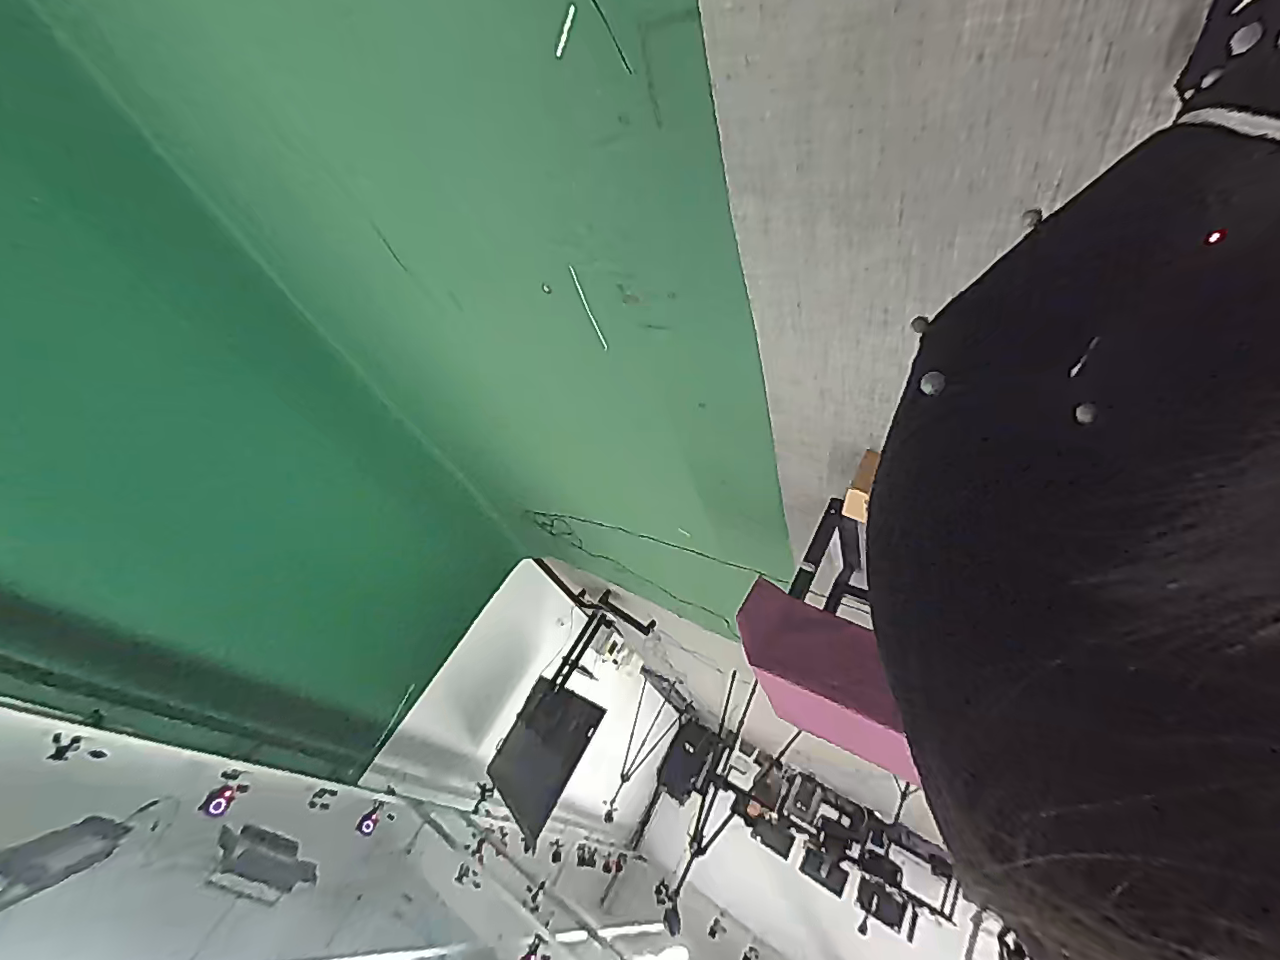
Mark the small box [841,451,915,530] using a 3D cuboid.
[{"bbox_3d":[0.788,0.031,1.789,0.168,0.176,0.179,23,155,24],"label":"small box"}]
